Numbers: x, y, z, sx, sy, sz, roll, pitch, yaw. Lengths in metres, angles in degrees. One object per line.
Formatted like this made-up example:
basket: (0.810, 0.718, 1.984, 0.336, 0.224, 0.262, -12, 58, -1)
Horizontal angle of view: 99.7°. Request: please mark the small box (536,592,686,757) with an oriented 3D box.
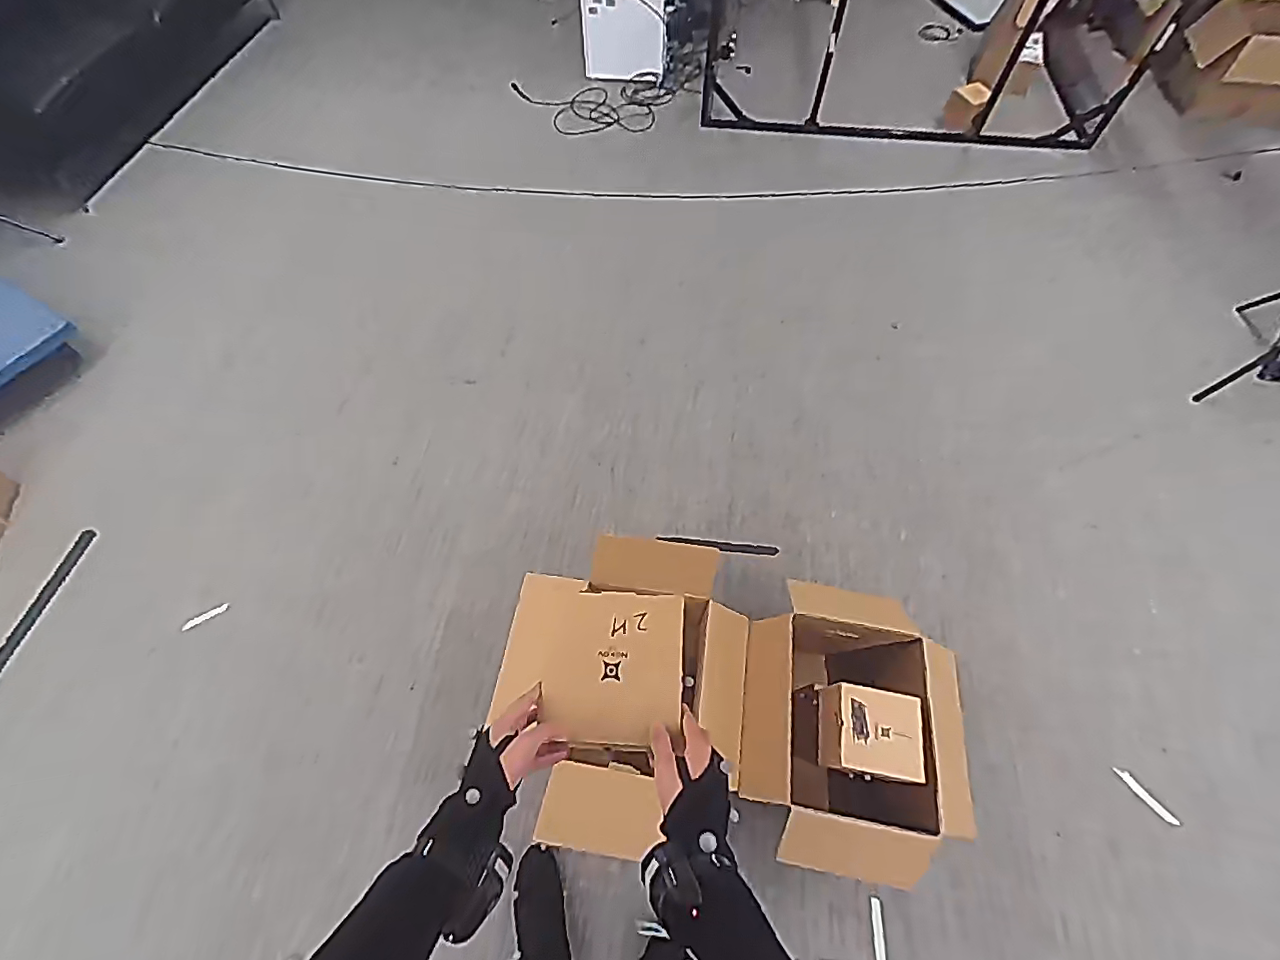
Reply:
small box: (-0.026, 0.258, 0.705, 0.168, 0.176, 0.179, 3, 62, 3)
